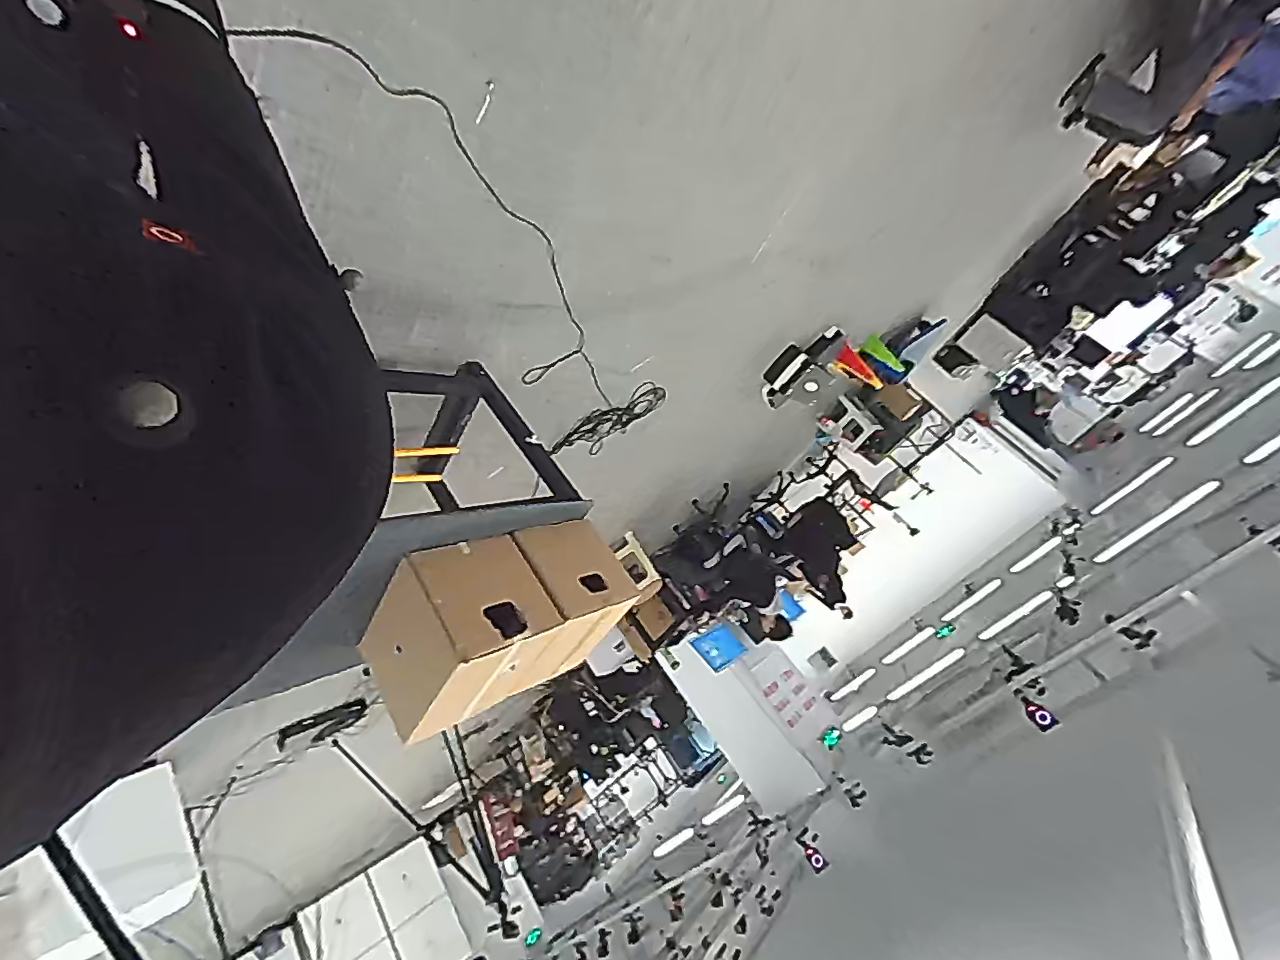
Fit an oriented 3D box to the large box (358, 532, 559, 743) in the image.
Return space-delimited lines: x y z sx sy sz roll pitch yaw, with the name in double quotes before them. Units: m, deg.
"large box" -0.487 0.398 1.417 0.320 0.320 0.408 -9 141 -51
